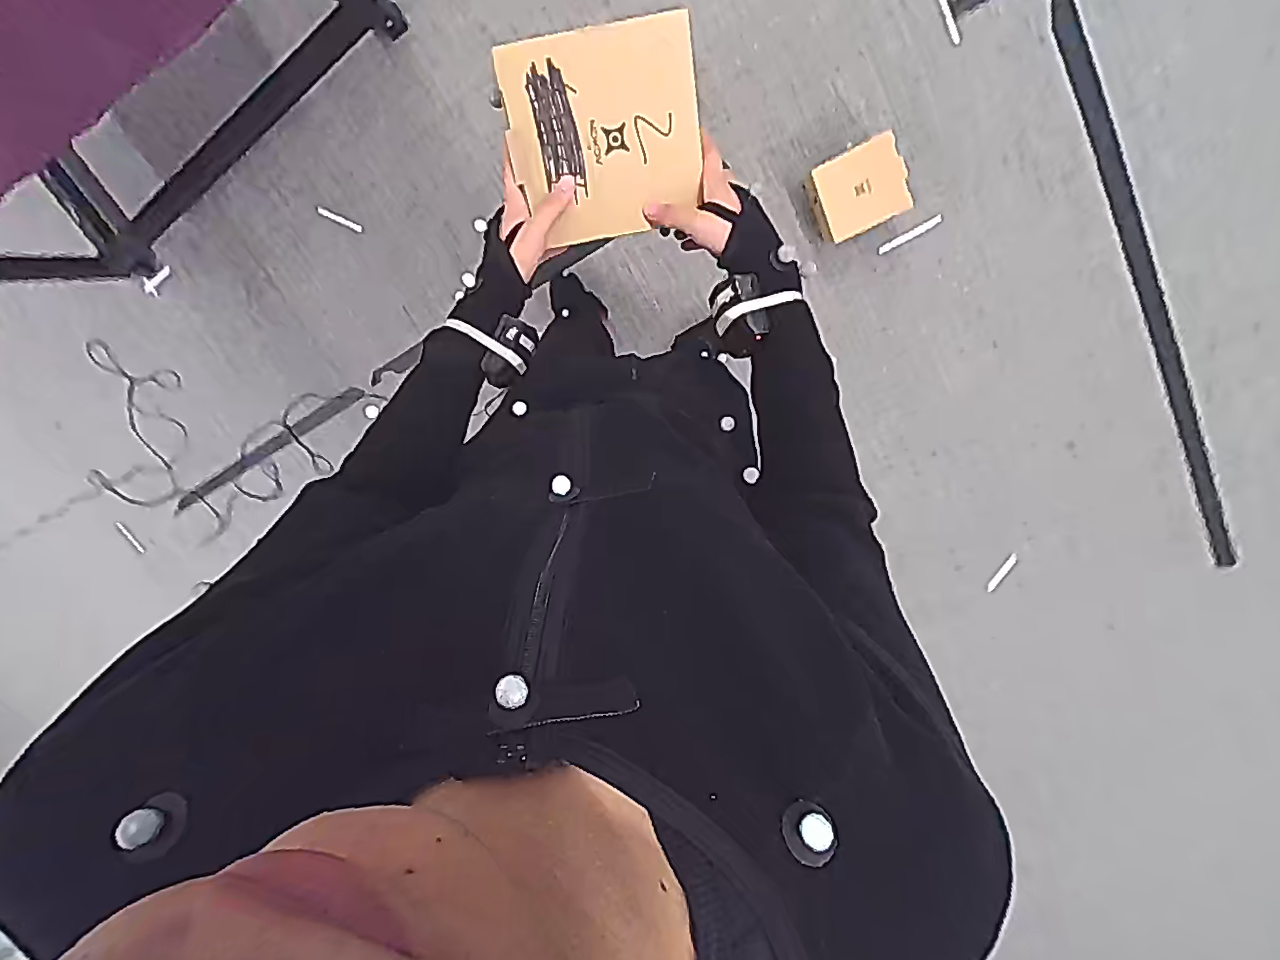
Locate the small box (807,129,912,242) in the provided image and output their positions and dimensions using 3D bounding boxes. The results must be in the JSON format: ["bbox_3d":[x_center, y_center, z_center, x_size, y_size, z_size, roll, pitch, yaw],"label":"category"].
[{"bbox_3d":[0.497,-0.668,1.251,0.179,0.176,0.168,-21,107,17],"label":"small box"}]
